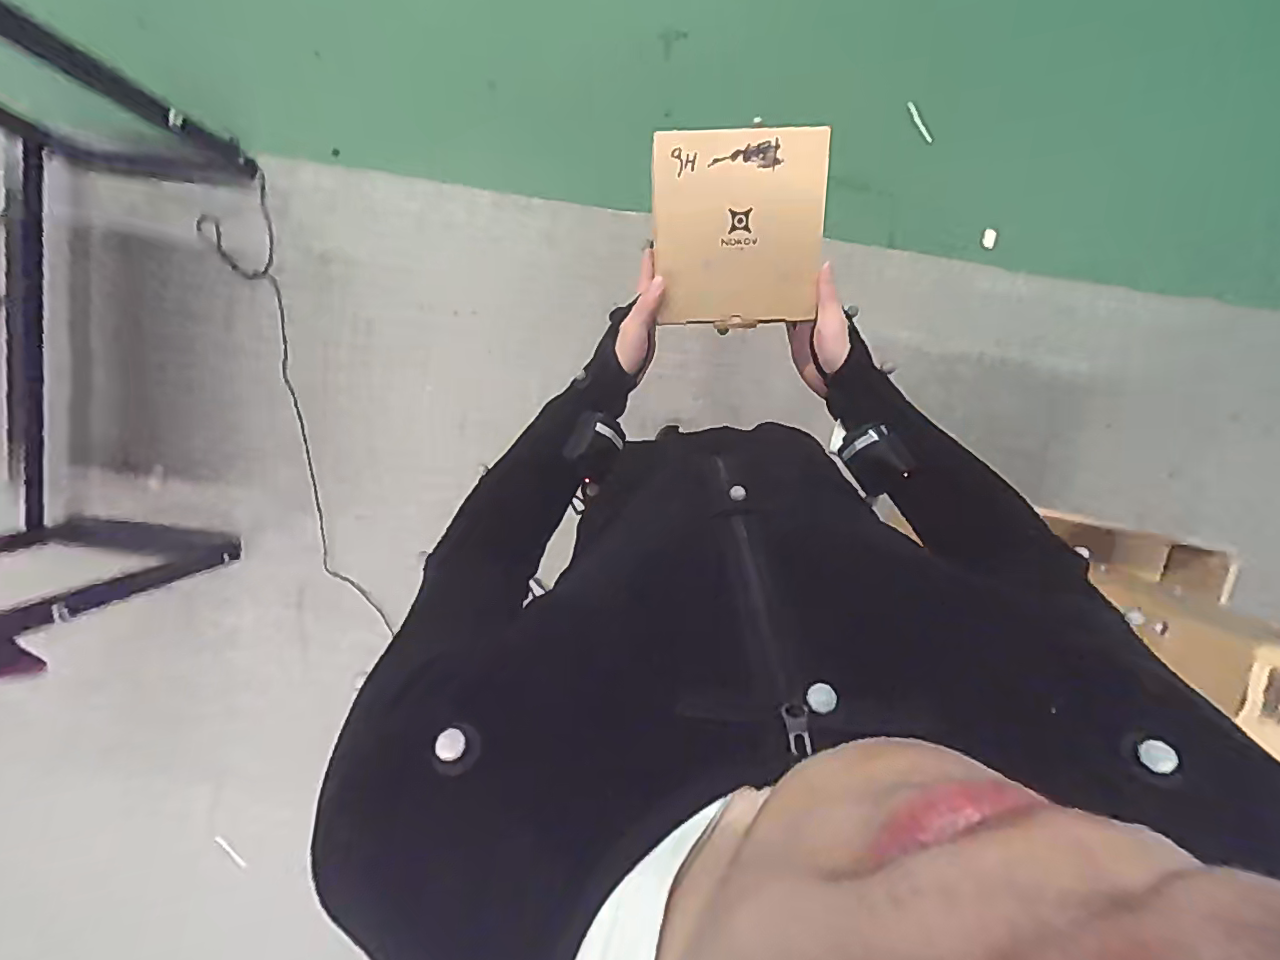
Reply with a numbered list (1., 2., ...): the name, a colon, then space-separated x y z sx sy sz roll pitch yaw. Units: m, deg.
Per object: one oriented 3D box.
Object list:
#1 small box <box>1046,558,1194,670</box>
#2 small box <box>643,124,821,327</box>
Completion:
1. small box: 0.964 0.271 1.124 0.179 0.176 0.168 11 97 3
2. small box: 0.090 -0.270 0.601 0.168 0.176 0.179 -2 109 2
